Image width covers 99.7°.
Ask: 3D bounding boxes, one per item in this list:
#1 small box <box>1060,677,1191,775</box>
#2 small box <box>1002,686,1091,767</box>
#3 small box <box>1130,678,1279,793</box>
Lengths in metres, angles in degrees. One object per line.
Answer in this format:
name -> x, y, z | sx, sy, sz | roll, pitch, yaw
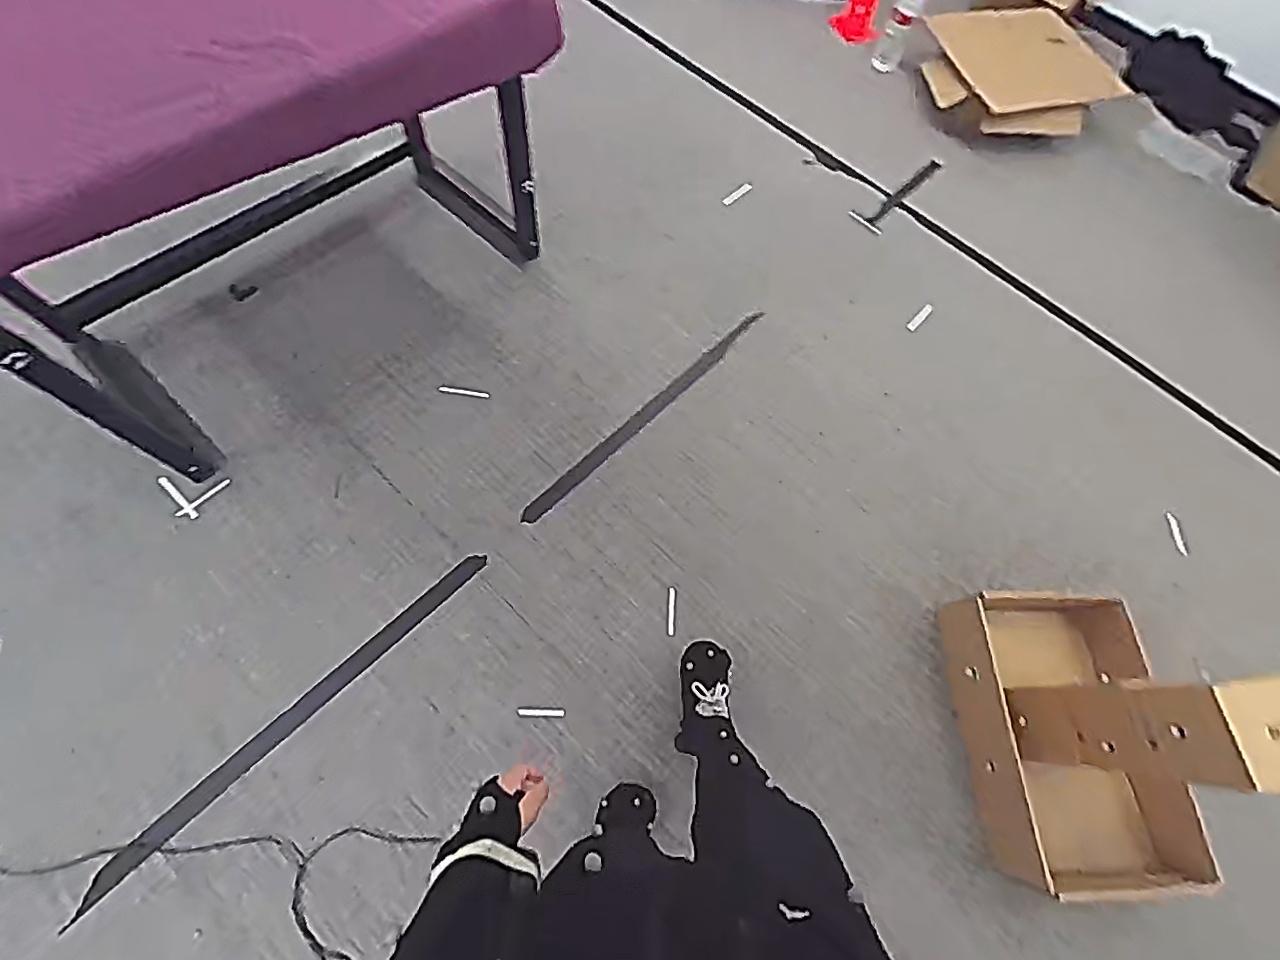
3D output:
small box -> 1.029, 0.508, 1.130 | 0.179, 0.176, 0.168 | -2, 69, -9
small box -> 1.009, 0.575, 1.275 | 0.179, 0.176, 0.168 | 2, 68, -5
small box -> 1.045, 0.452, 0.974 | 0.179, 0.176, 0.168 | -2, 70, -7
